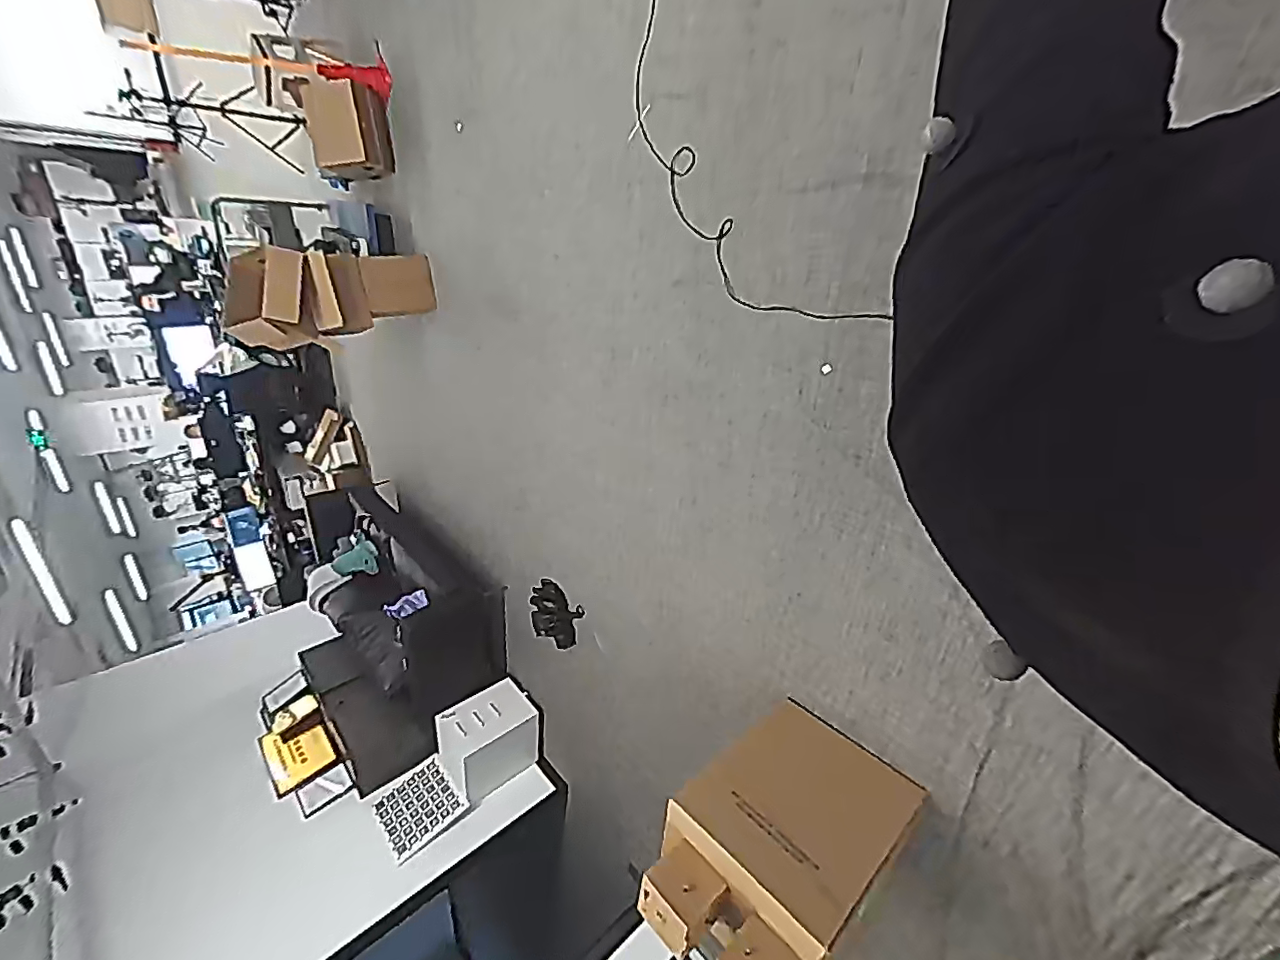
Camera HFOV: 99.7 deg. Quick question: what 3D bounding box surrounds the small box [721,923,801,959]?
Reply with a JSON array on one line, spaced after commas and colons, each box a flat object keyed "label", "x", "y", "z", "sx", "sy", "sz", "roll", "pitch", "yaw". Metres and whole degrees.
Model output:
[{"label": "small box", "x": 0.308, "y": 1.279, "z": 1.366, "sx": 0.179, "sy": 0.176, "sz": 0.168, "roll": 23, "pitch": 119, "yaw": 40}]

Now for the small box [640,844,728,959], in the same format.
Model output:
[{"label": "small box", "x": 0.127, "y": 1.193, "z": 1.535, "sx": 0.179, "sy": 0.176, "sz": 0.168, "roll": 27, "pitch": 119, "yaw": 39}]
